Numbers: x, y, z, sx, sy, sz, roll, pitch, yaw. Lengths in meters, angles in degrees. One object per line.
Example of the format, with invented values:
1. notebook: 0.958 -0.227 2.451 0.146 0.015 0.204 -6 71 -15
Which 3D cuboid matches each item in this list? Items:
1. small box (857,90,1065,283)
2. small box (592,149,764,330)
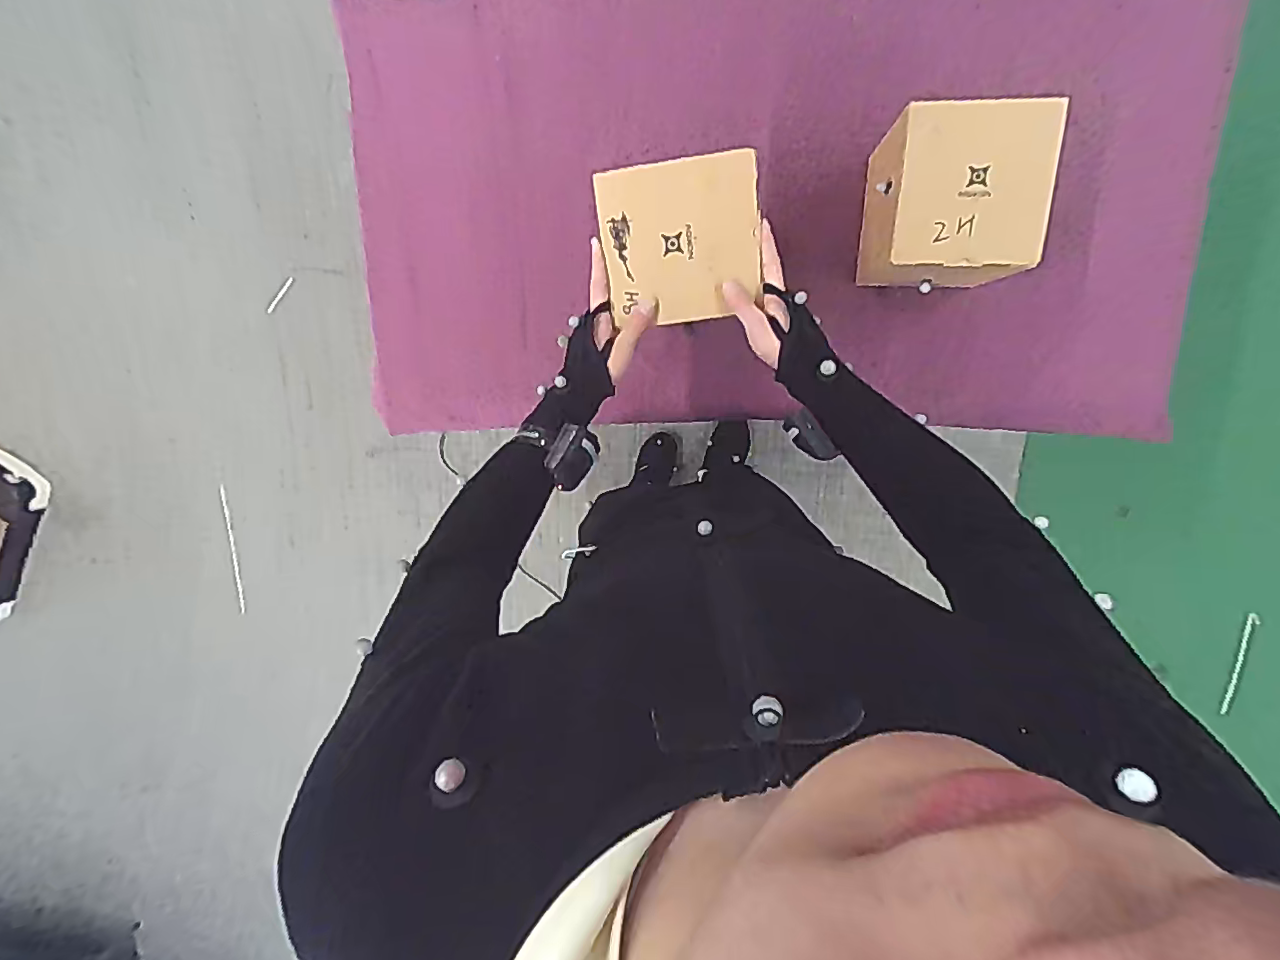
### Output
1. small box: 0.387 -0.357 0.688 0.168 0.176 0.179 4 102 8
2. small box: 0.048 -0.279 0.662 0.179 0.176 0.168 -6 105 6
